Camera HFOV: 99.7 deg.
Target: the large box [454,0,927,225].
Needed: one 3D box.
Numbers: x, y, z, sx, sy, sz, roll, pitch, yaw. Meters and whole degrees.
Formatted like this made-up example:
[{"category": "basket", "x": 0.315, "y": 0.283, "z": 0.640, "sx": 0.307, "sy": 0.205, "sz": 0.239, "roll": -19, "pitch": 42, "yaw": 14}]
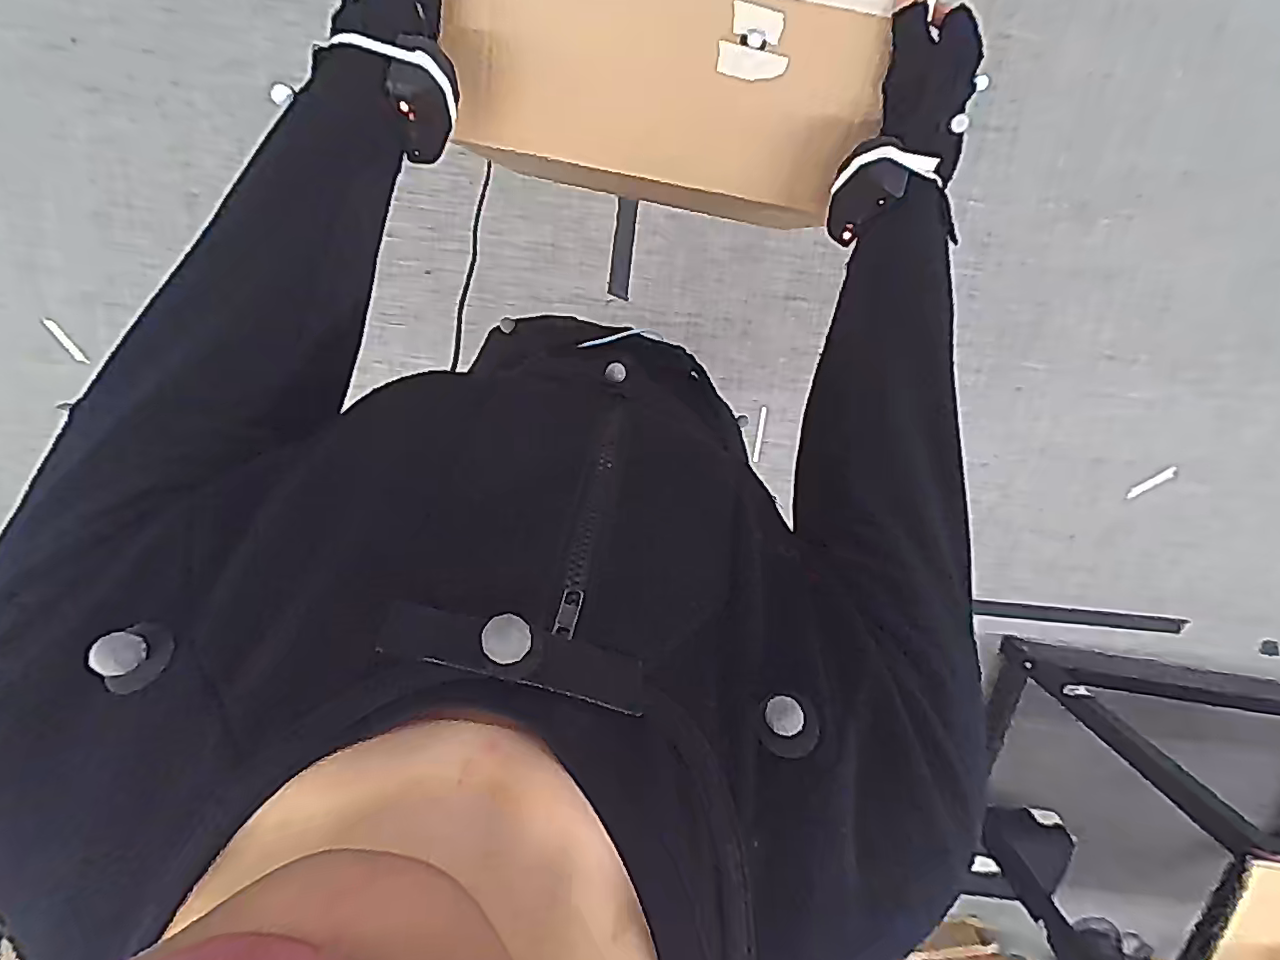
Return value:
[{"category": "large box", "x": 0.046, "y": -0.483, "z": 0.589, "sx": 0.408, "sy": 0.320, "sz": 0.320, "roll": 10, "pitch": 115, "yaw": -3}]
